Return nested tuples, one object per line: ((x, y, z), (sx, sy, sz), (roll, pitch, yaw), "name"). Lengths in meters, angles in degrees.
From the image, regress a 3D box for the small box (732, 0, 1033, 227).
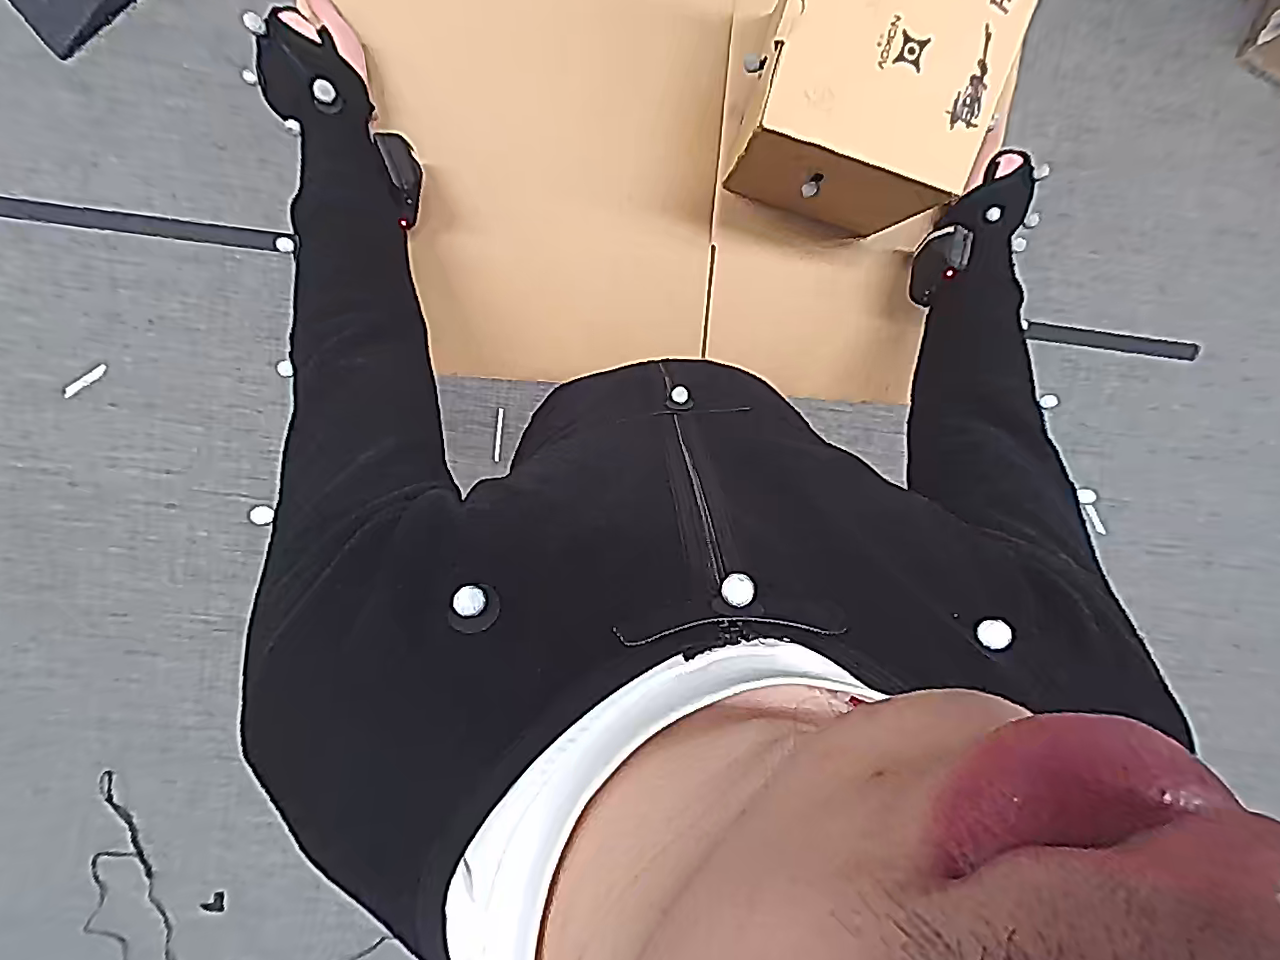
((0.197, -0.351, 0.491), (0.179, 0.176, 0.168), (16, 103, -4), "small box")
